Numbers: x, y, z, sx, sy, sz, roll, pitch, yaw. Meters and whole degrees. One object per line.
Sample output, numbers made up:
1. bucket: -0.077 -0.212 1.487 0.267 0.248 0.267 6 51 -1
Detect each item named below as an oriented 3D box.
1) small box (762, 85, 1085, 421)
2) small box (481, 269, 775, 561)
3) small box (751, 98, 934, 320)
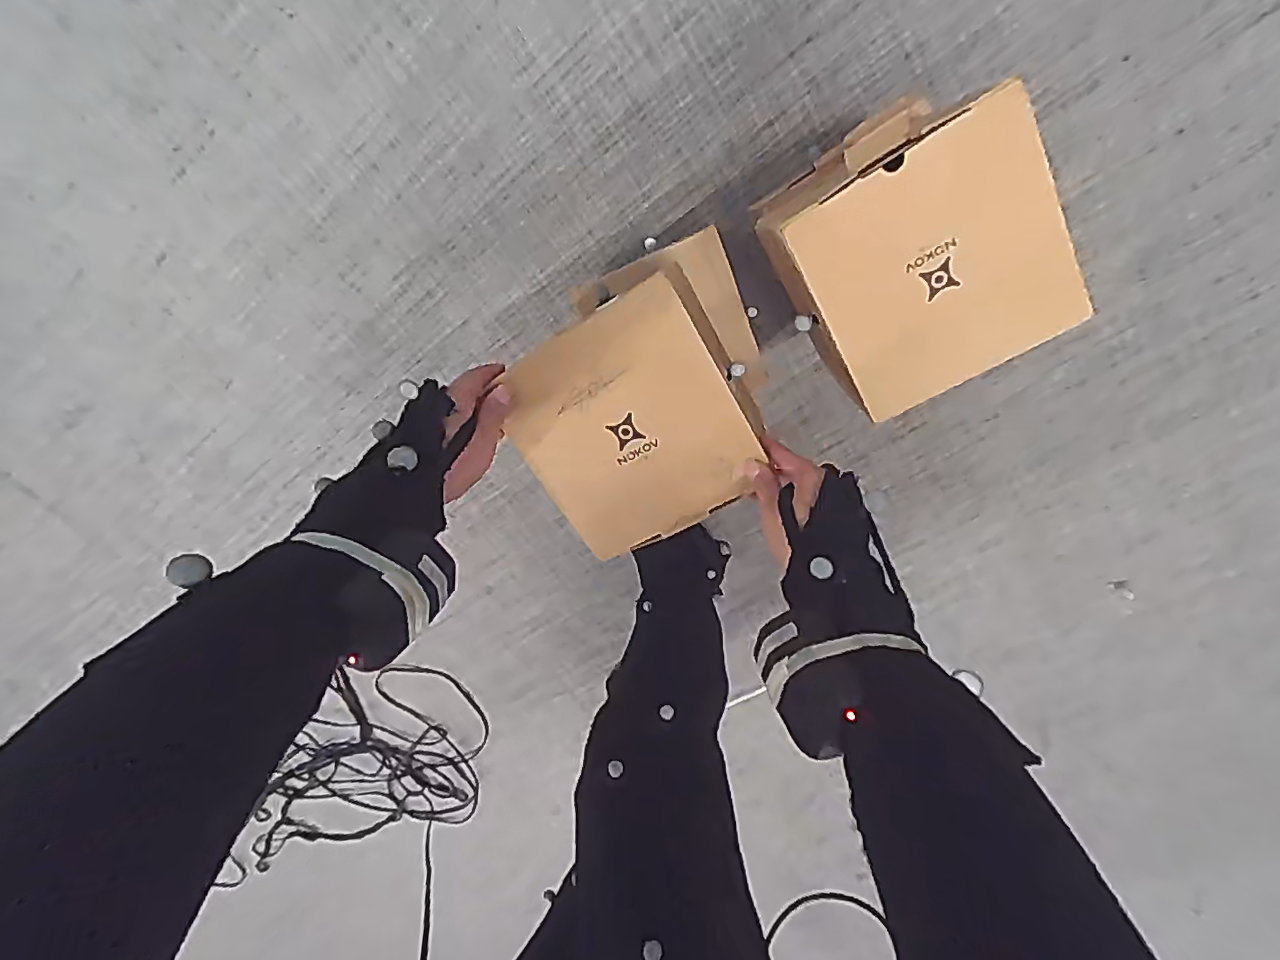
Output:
1. small box: 0.221 -0.184 0.463 0.168 0.176 0.179 -28 109 17
2. small box: 0.000 -0.066 0.478 0.168 0.176 0.179 -28 108 17
3. small box: 0.237 -0.270 0.601 0.168 0.176 0.179 -28 109 17
